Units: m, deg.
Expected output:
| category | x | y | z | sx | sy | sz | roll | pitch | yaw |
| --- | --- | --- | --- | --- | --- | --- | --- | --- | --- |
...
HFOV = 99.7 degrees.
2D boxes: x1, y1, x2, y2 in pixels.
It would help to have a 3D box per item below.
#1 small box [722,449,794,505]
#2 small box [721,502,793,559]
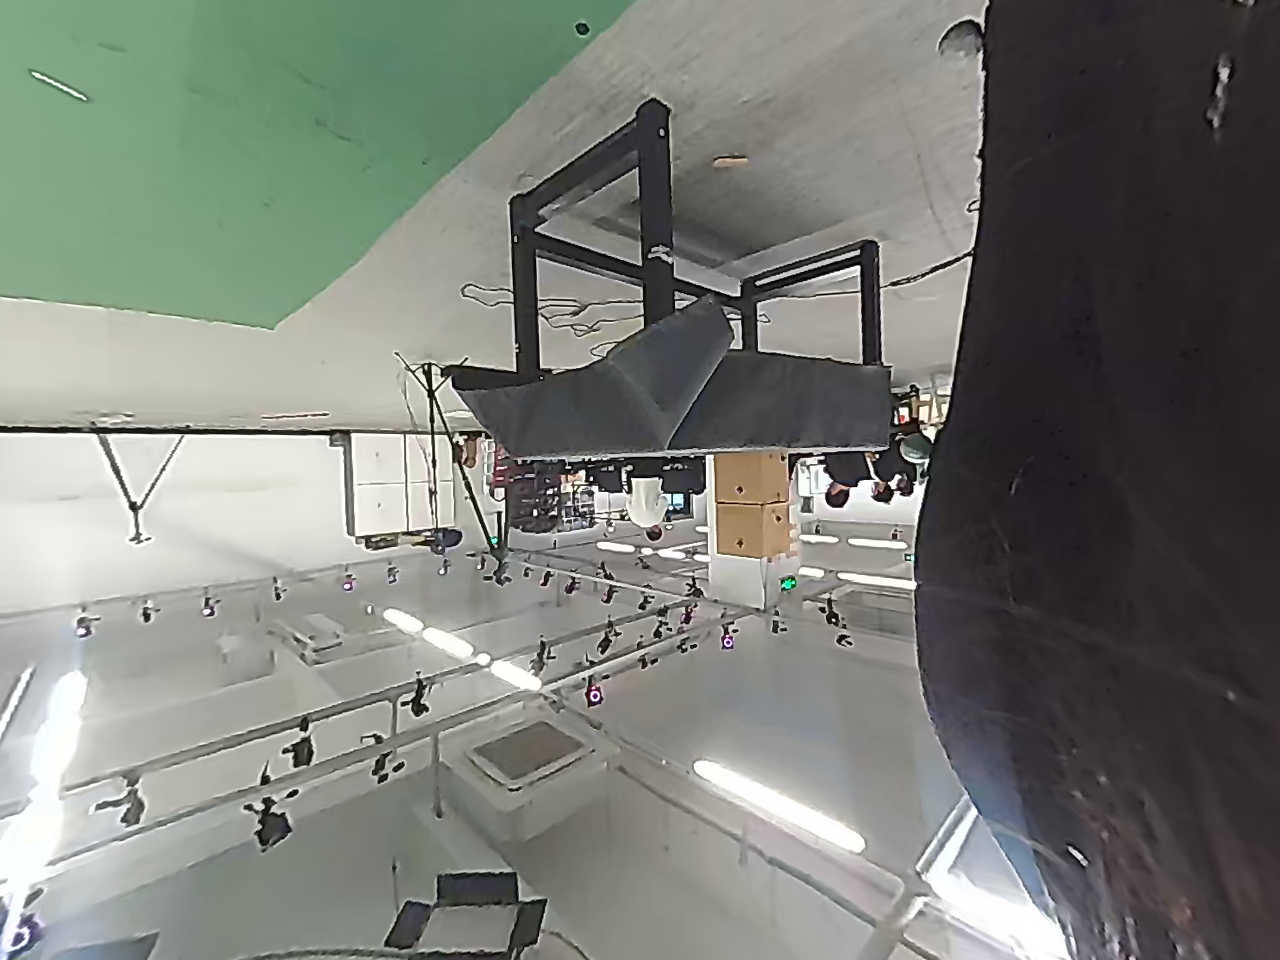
| category | x | y | z | sx | sy | sz | roll | pitch | yaw |
| --- | --- | --- | --- | --- | --- | --- | --- | --- | --- |
| small box | 0.375 | -0.011 | 1.728 | 0.168 | 0.176 | 0.179 | -2 | -177 | -44 |
| small box | 0.377 | 0.151 | 1.731 | 0.168 | 0.176 | 0.179 | -2 | -178 | -44 |
